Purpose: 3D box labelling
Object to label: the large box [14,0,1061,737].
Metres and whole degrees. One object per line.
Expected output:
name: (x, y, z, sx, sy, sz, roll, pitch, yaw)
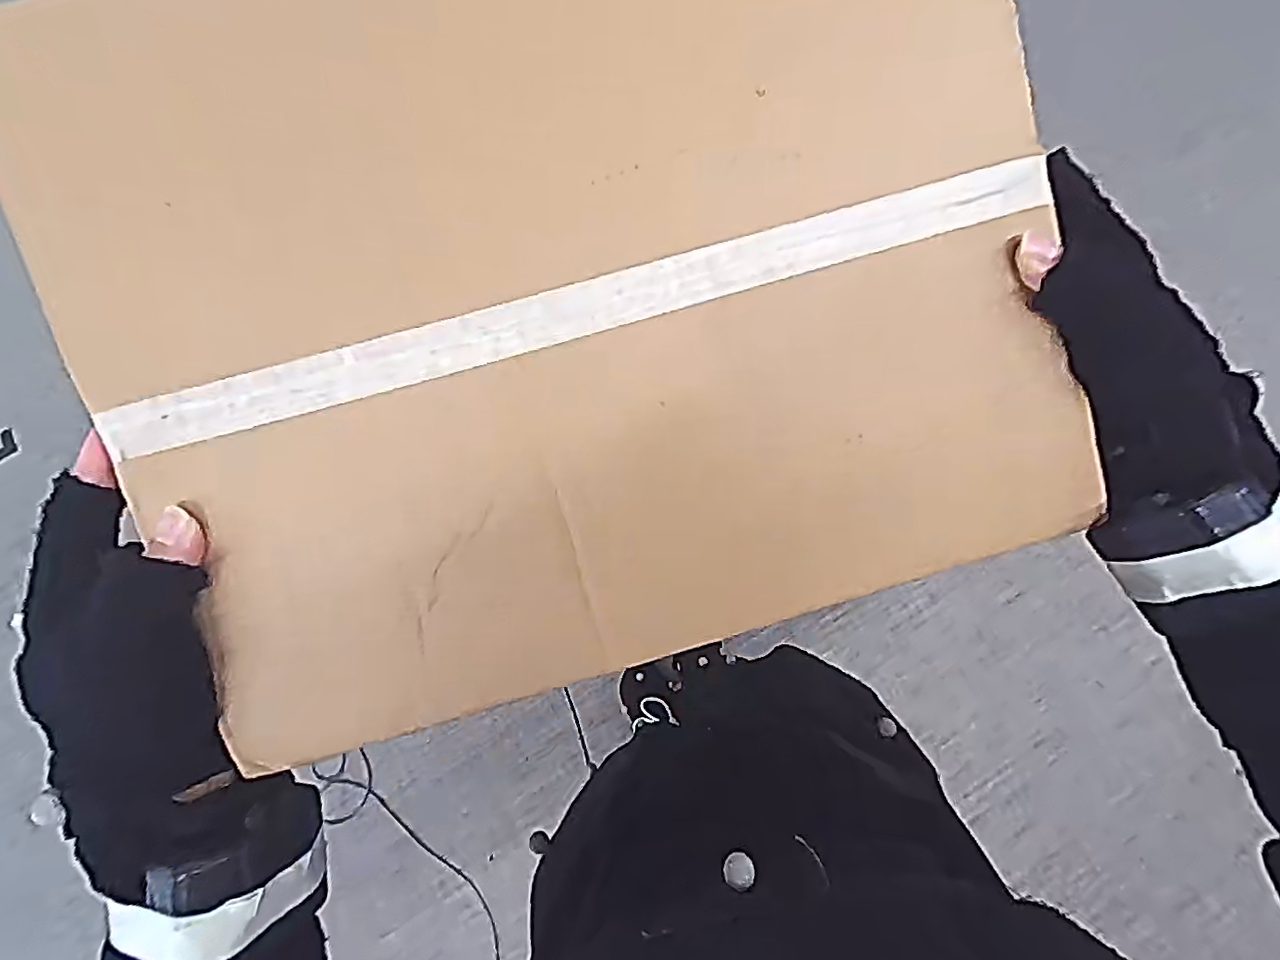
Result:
large box: (-0.028, -0.097, 0.387, 0.408, 0.320, 0.320, -15, 97, -2)
